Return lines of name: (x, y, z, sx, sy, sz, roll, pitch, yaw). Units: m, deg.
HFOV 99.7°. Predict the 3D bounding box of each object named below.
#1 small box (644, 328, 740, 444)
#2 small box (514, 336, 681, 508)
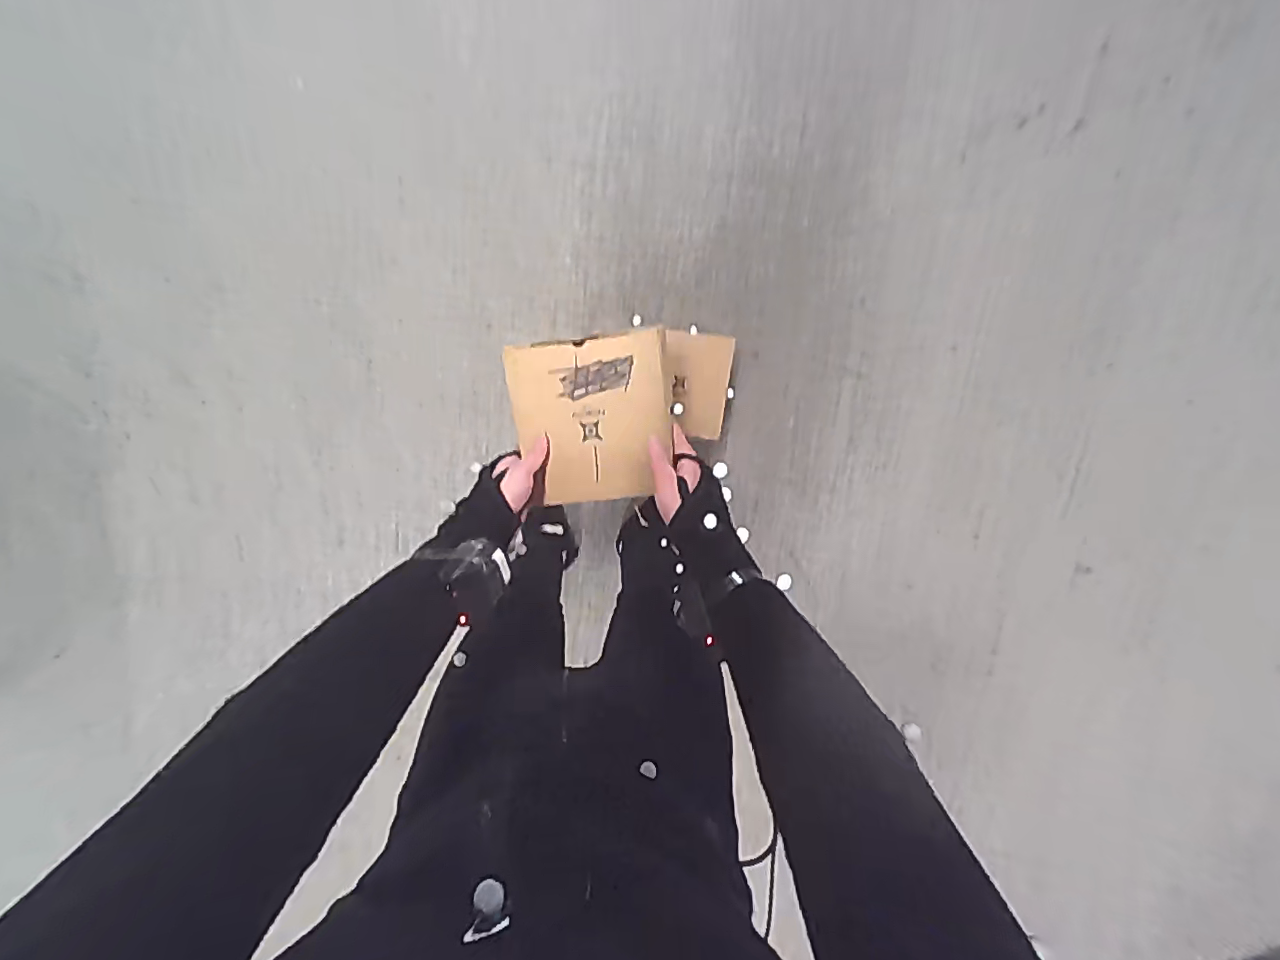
small box: (0.080, -0.175, 0.998, 0.168, 0.176, 0.179, 9, 102, 1)
small box: (-0.037, -0.077, 0.636, 0.168, 0.176, 0.179, -2, 107, 6)
